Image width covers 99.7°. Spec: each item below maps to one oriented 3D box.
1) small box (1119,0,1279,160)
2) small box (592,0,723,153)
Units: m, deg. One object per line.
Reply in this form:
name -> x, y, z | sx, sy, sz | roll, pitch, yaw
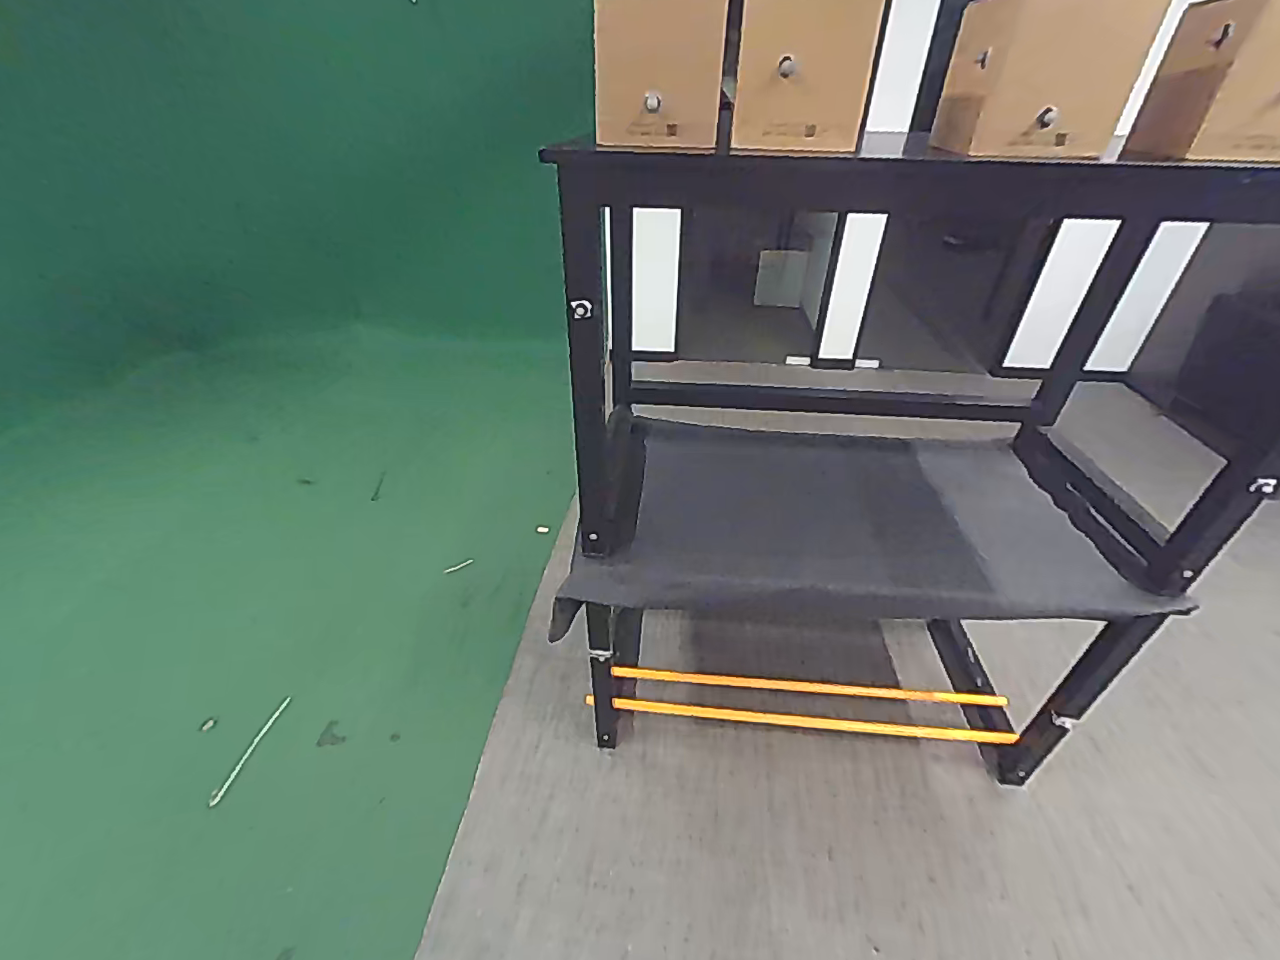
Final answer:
small box -> 0.781, -0.514, 0.694 | 0.168, 0.176, 0.179 | 9, 36, 11
small box -> 0.024, -0.575, 0.771 | 0.168, 0.176, 0.179 | 3, 36, 2
